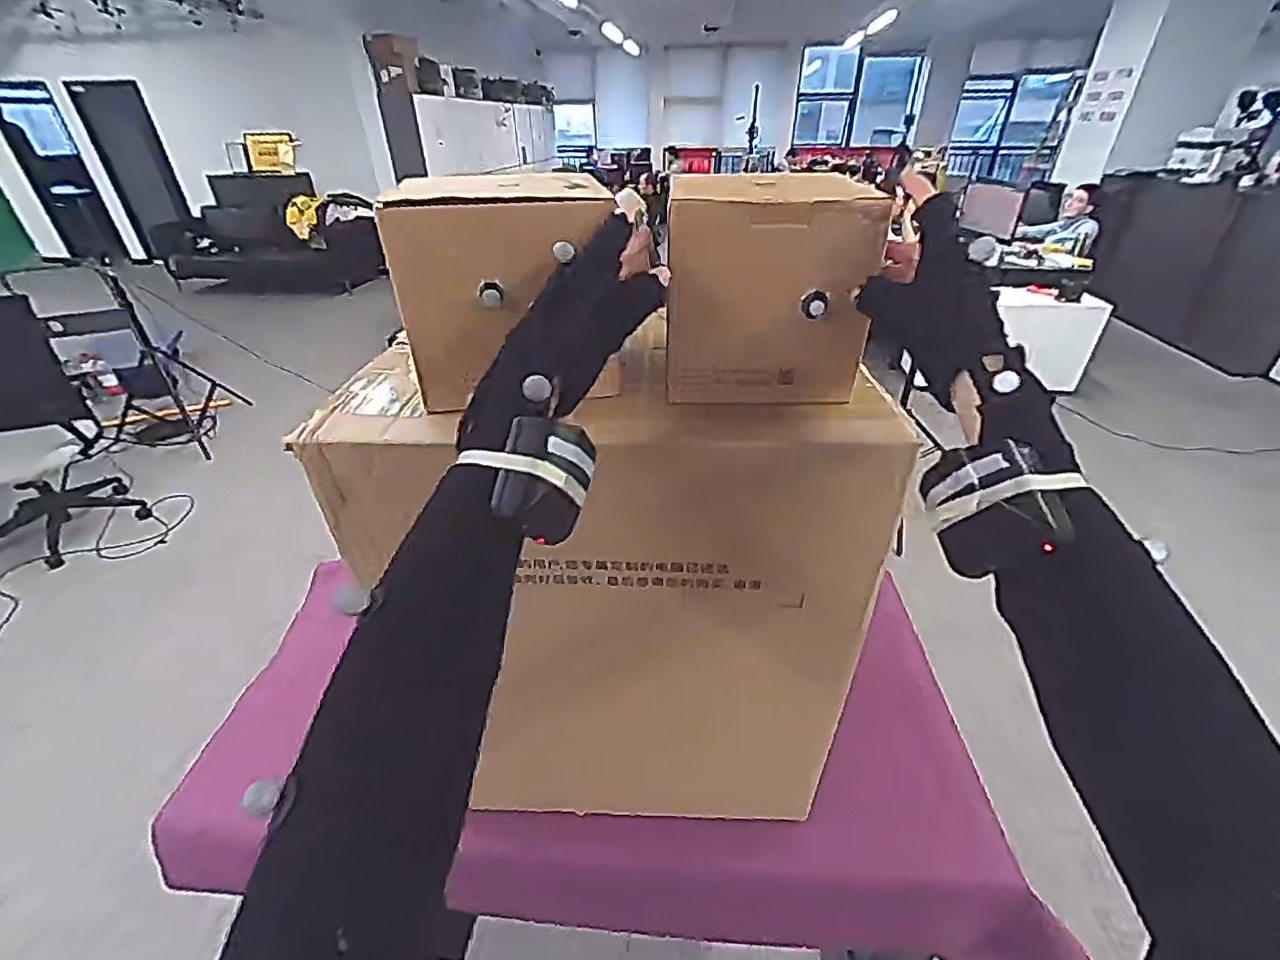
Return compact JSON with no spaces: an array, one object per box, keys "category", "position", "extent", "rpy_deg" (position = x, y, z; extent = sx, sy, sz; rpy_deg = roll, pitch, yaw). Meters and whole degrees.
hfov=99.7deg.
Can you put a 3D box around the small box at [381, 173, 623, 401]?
[{"category":"small box","position":[-0.114,-0.182,0.504],"extent":[0.179,0.176,0.168],"rpy_deg":[-6,35,-10]}]

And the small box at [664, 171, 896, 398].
[{"category":"small box","position":[0.109,-0.185,0.503],"extent":[0.168,0.176,0.179],"rpy_deg":[2,33,2]}]
